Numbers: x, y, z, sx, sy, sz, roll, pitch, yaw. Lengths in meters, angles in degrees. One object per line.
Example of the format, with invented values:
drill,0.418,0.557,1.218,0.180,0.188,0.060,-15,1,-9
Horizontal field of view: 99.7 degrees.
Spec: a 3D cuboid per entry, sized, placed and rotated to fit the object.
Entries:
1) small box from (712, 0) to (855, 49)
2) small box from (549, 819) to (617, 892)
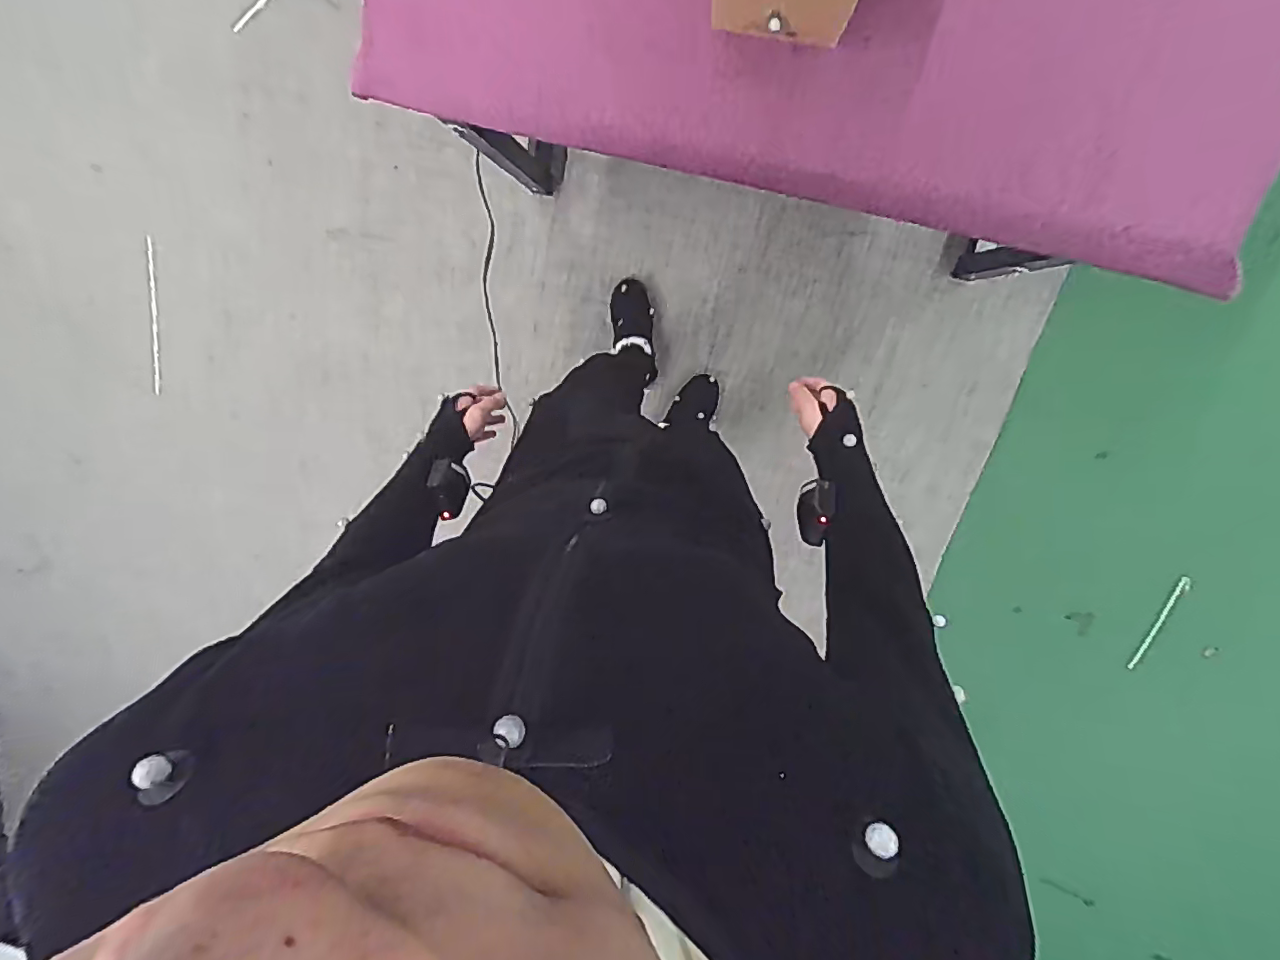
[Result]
small box,0.176,-0.630,0.597,0.168,0.176,0.179,12,107,3
small box,-0.175,1.206,1.676,0.168,0.176,0.179,15,108,1
